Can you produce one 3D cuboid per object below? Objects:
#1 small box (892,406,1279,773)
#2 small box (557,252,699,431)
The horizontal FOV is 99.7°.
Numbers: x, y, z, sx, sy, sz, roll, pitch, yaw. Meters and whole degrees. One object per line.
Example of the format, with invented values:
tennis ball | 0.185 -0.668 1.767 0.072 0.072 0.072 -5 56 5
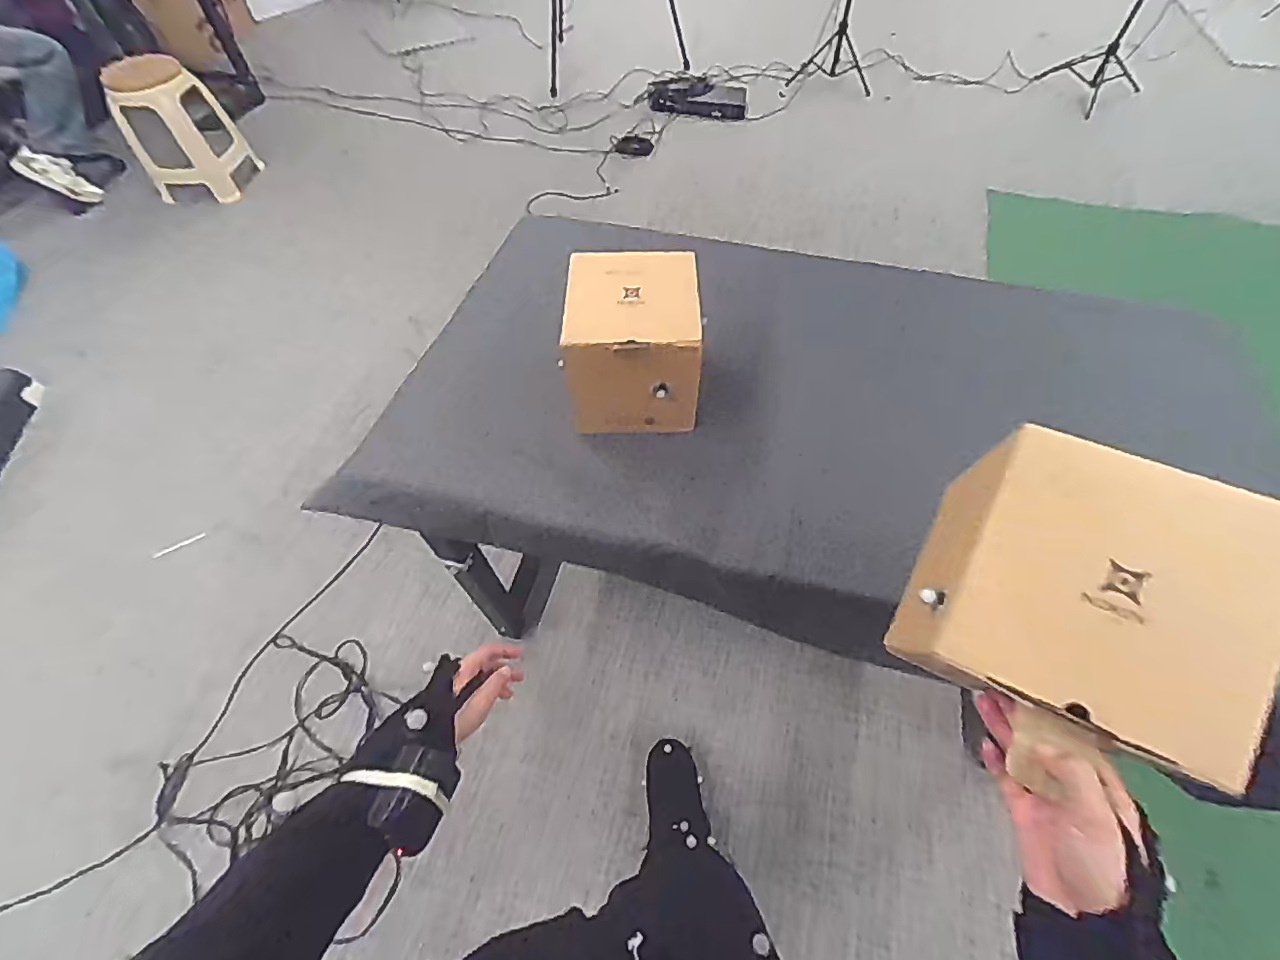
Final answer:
small box | 0.314 0.076 0.408 0.168 0.176 0.179 23 81 17
small box | -0.012 -0.180 0.723 0.168 0.176 0.179 0 55 -1
